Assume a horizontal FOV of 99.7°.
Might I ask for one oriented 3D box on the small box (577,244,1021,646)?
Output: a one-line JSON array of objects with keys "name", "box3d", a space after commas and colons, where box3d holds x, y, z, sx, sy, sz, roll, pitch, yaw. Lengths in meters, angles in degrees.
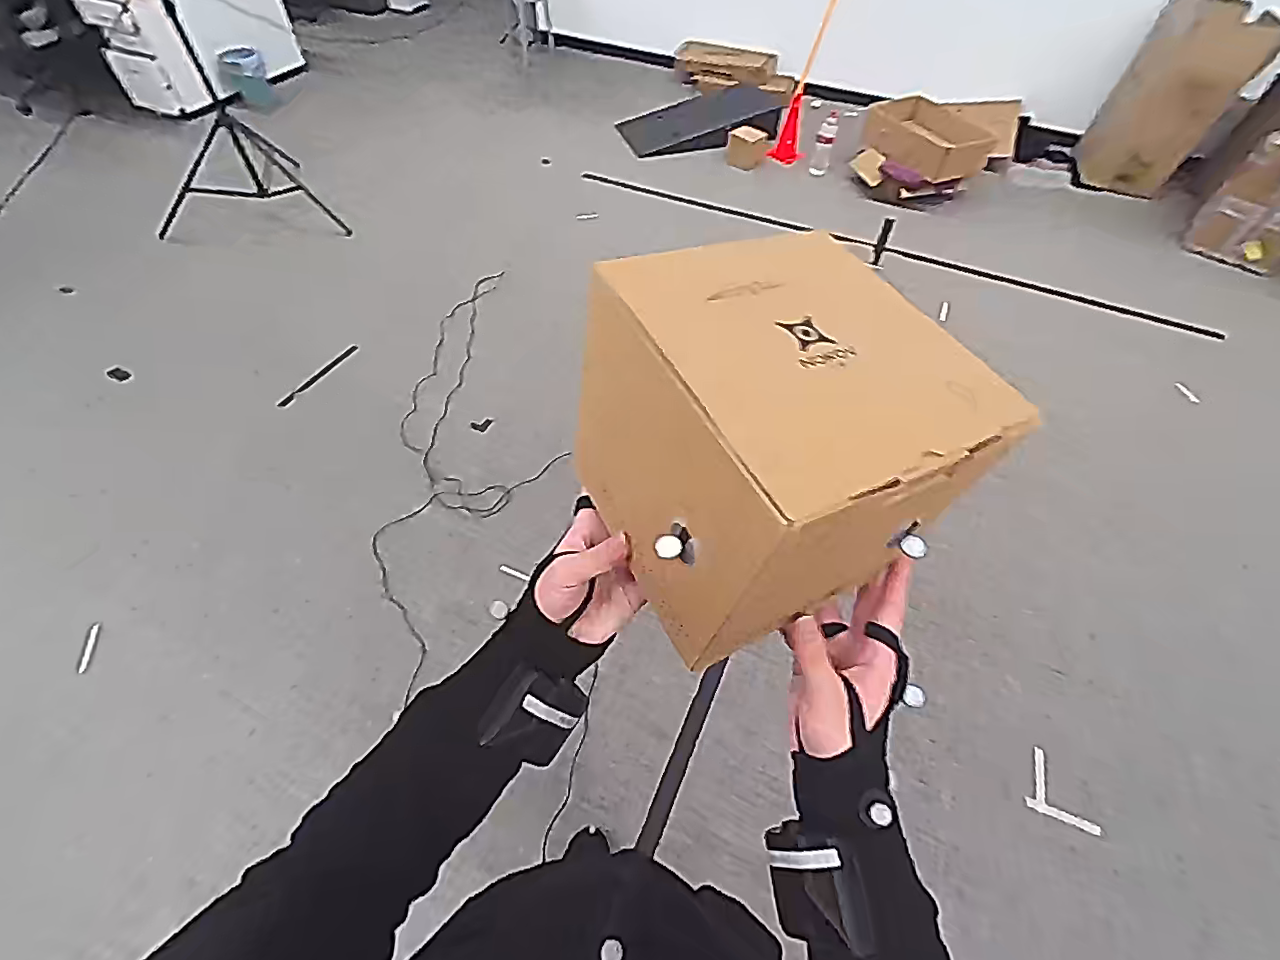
[{"name": "small box", "box3d": [0.071, -0.017, 0.343, 0.168, 0.176, 0.179, -19, 58, -24]}]
